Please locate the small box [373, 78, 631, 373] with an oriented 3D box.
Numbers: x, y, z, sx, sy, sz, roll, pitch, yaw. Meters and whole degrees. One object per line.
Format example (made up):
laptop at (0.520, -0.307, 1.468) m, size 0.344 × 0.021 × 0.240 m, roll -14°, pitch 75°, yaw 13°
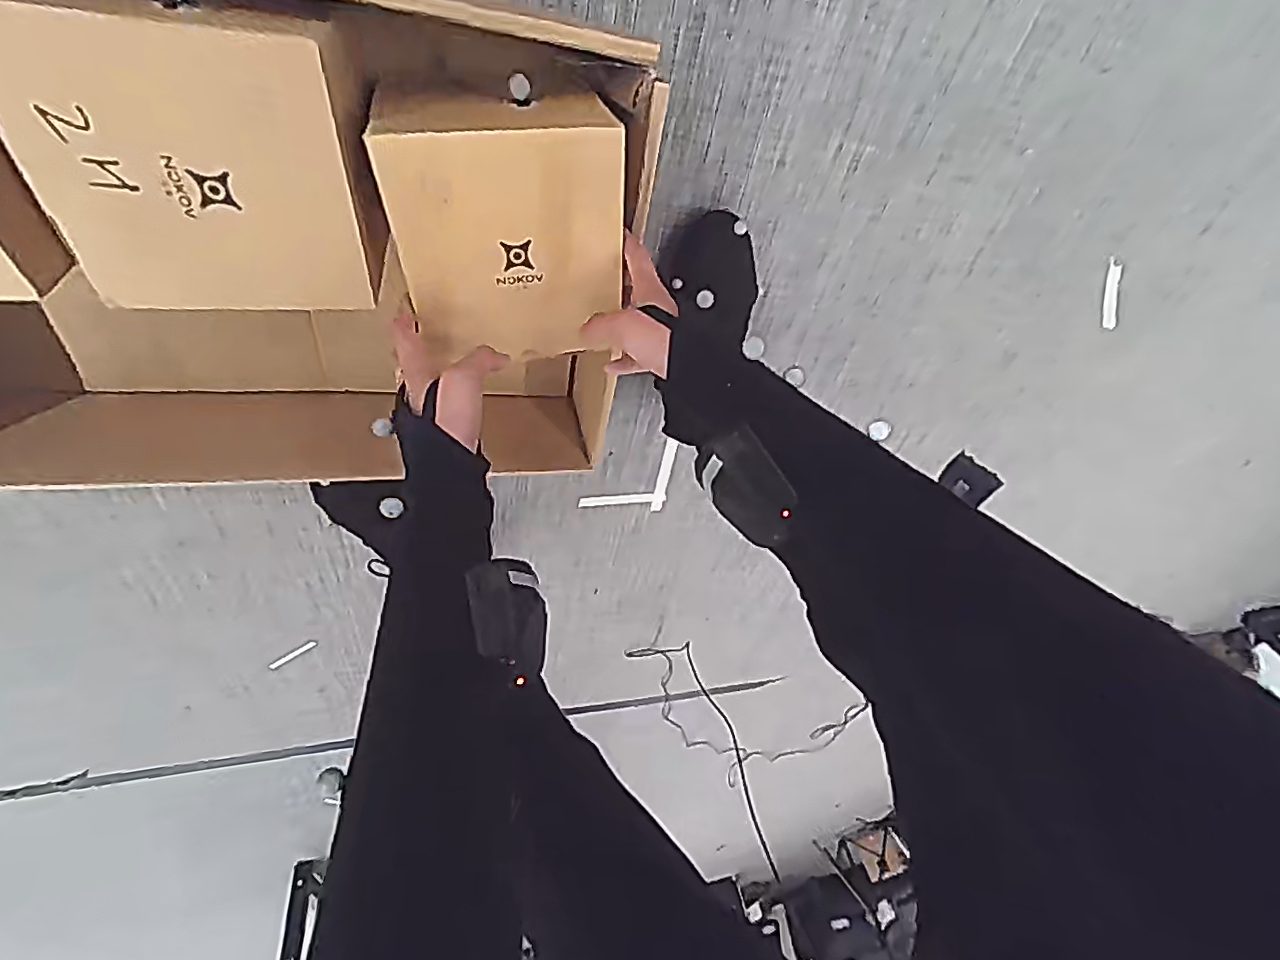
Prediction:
small box at (-0.110, -0.217, 0.452) m, size 0.168 × 0.176 × 0.179 m, roll -9°, pitch 138°, yaw -12°
